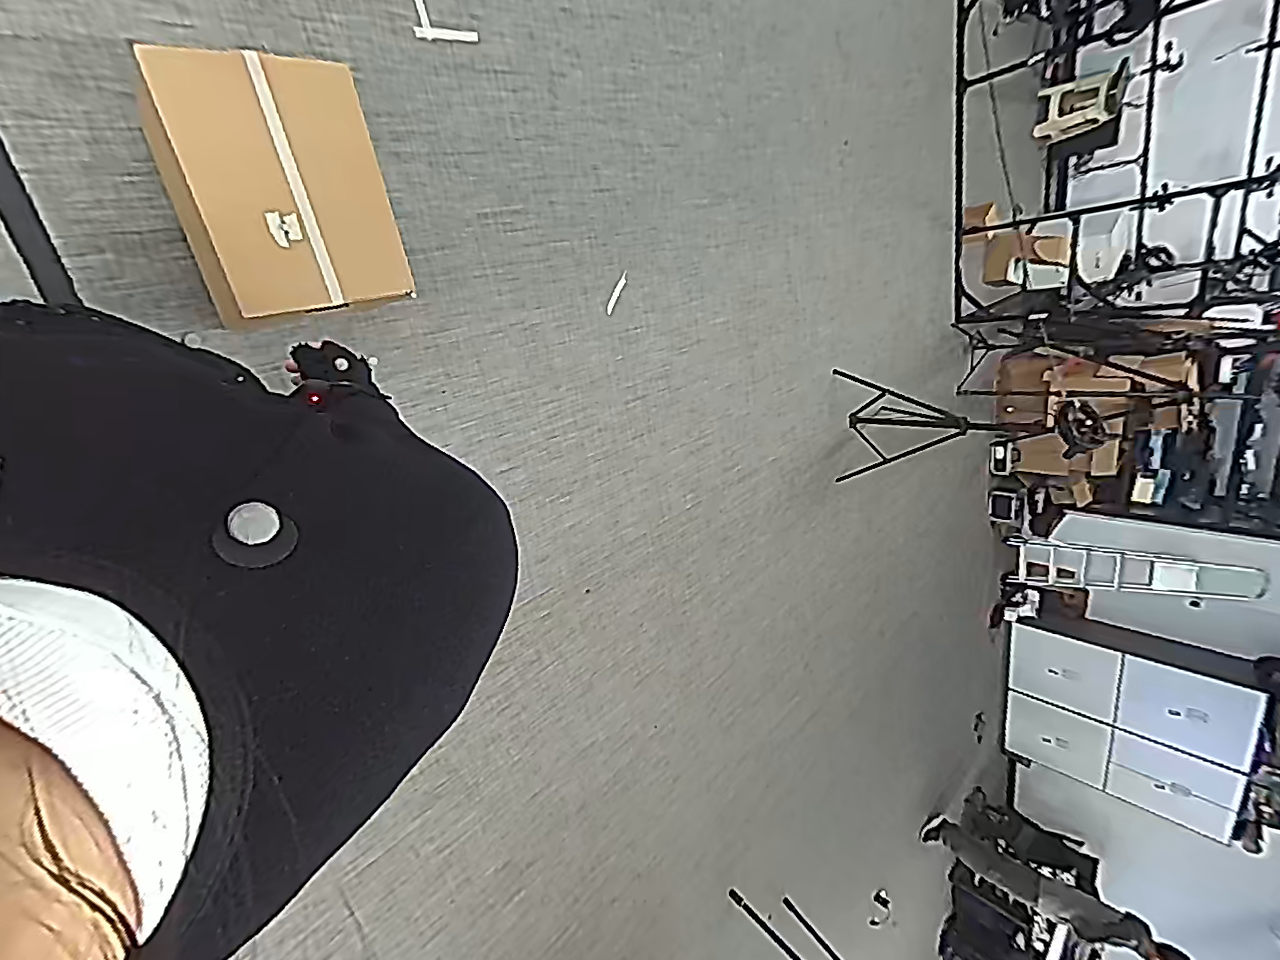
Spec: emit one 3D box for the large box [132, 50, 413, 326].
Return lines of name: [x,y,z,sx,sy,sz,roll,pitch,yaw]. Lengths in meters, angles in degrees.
large box: [-0.717,-0.543,1.073,0.320,0.320,0.408,-26,115,-36]
